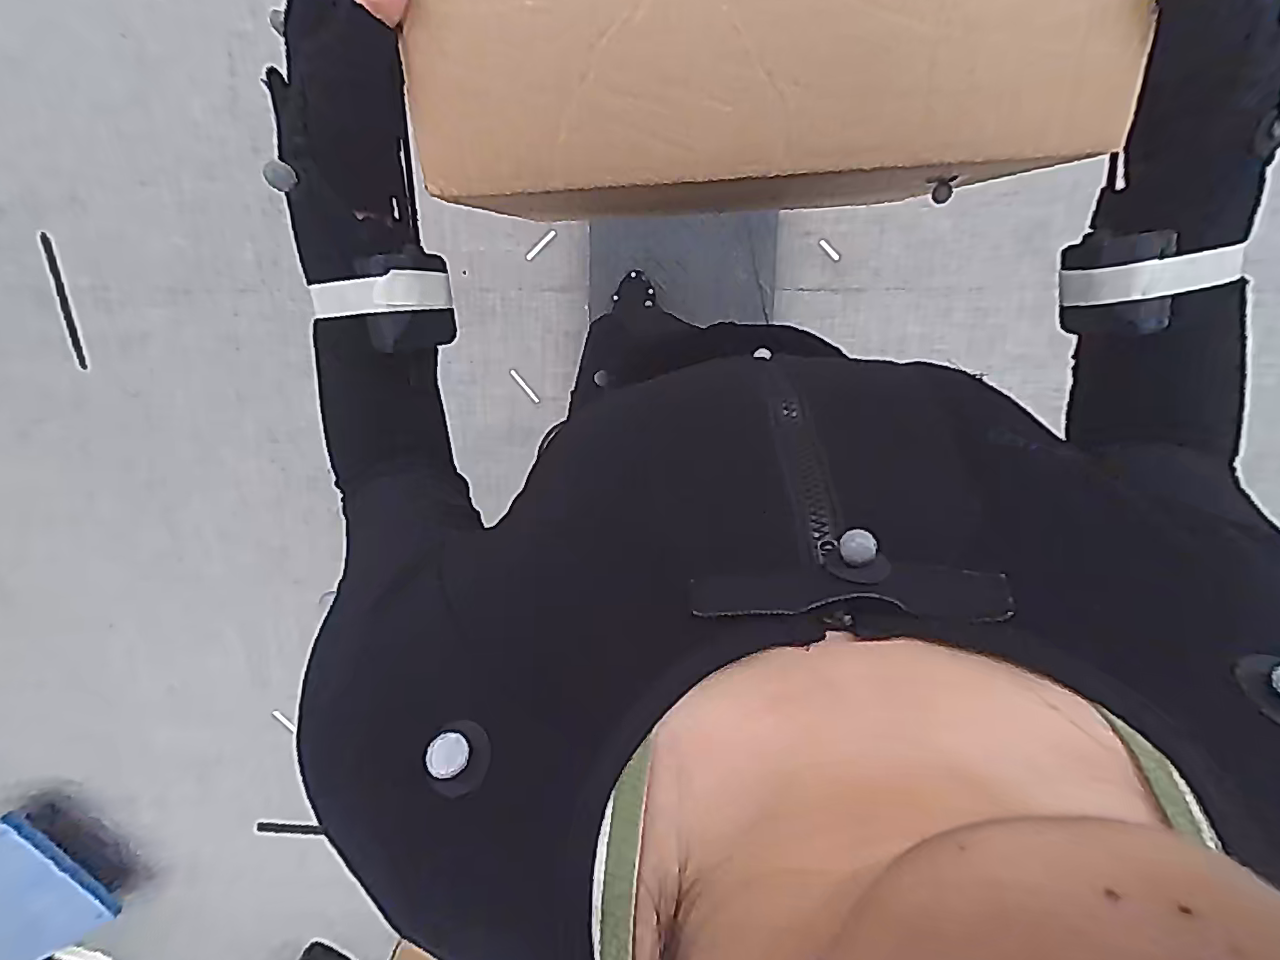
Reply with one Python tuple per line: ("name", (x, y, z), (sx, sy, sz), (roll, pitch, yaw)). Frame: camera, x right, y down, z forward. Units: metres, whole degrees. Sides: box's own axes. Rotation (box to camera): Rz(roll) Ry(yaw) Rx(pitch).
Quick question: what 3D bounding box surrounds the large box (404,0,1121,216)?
("large box", (0.067, -0.388, 0.410), (0.408, 0.320, 0.320), (-2, 112, 3))
